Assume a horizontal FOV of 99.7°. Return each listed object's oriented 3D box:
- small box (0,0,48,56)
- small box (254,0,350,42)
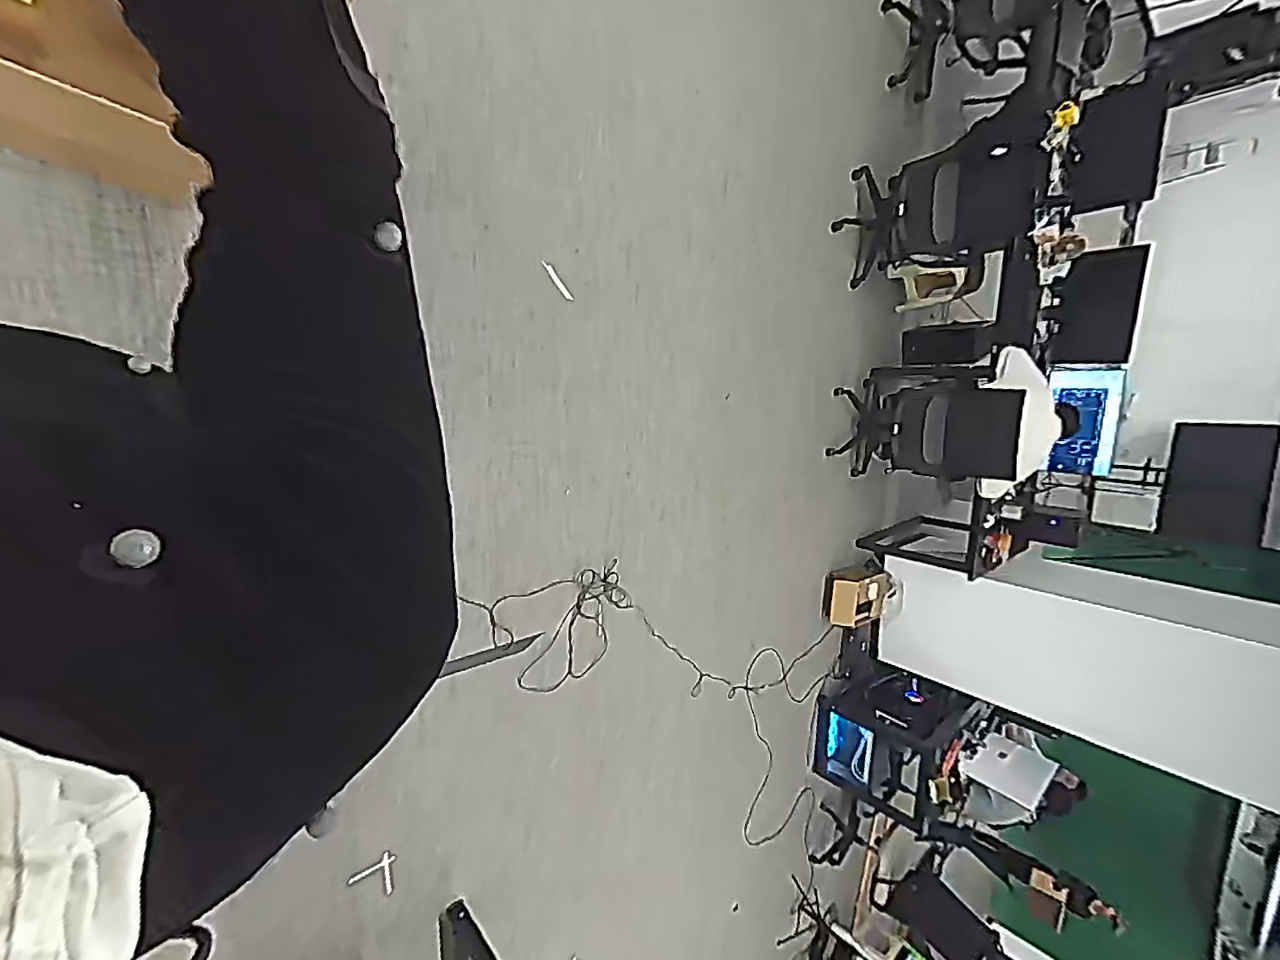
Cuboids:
[{"bbox_3d":[-0.869,-0.690,0.675,0.168,0.176,0.179,3,94,-43],"label":"small box"},{"bbox_3d":[-0.425,-0.679,0.635,0.168,0.176,0.179,7,91,-44],"label":"small box"}]
